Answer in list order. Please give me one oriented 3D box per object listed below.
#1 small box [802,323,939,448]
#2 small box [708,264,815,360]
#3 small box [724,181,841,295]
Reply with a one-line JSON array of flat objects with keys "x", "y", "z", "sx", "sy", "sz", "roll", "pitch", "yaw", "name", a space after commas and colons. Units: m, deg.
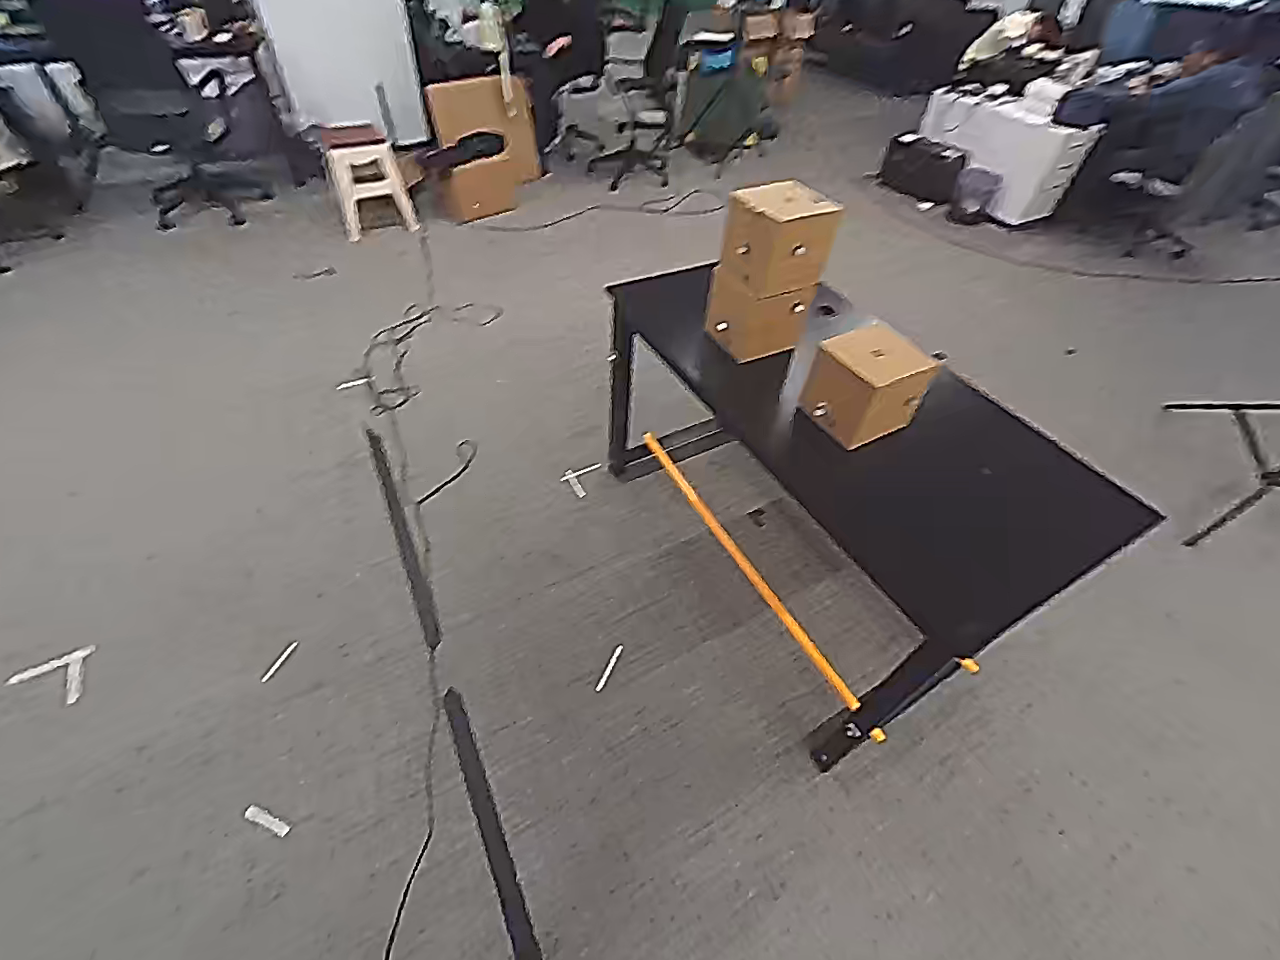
[{"x": 0.470, "y": -0.196, "z": 1.131, "sx": 0.179, "sy": 0.176, "sz": 0.168, "roll": -22, "pitch": 52, "yaw": -22, "name": "small box"}, {"x": 0.284, "y": -0.416, "z": 1.308, "sx": 0.179, "sy": 0.176, "sz": 0.168, "roll": -20, "pitch": 53, "yaw": -21, "name": "small box"}, {"x": 0.302, "y": -0.529, "z": 1.190, "sx": 0.179, "sy": 0.176, "sz": 0.168, "roll": -22, "pitch": 54, "yaw": -22, "name": "small box"}]
